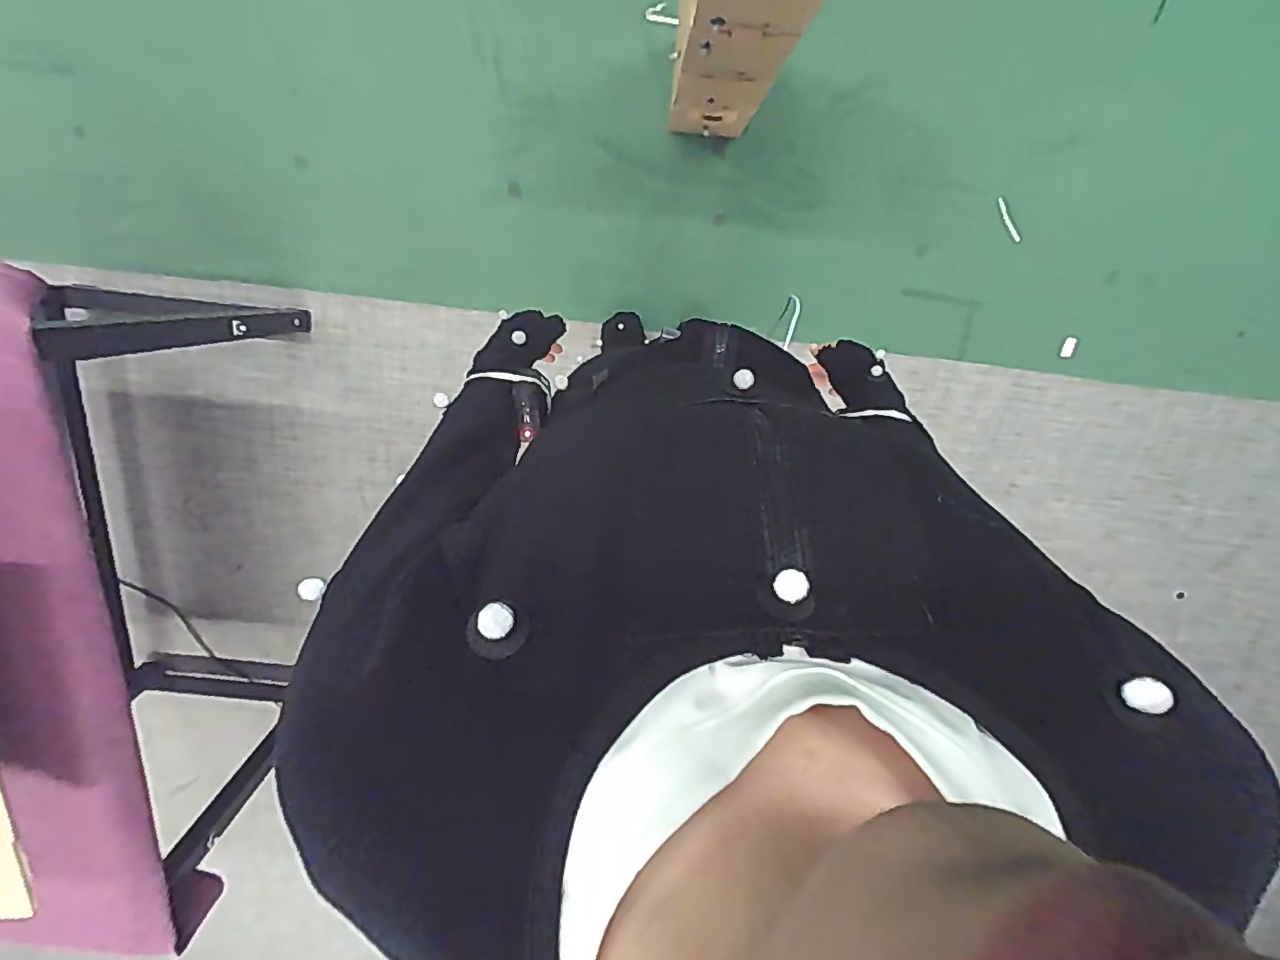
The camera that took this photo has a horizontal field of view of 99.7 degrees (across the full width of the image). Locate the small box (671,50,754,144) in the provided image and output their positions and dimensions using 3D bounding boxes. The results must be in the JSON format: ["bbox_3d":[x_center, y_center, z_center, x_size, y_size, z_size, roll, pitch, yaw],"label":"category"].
[{"bbox_3d":[0.157,-0.844,1.148,0.168,0.176,0.179,5,108,-2],"label":"small box"}]

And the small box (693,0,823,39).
[{"bbox_3d":[0.160,-0.695,0.679,0.168,0.176,0.179,2,107,-2],"label":"small box"}]

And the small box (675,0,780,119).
[{"bbox_3d":[0.156,-0.795,0.993,0.168,0.176,0.179,2,109,-2],"label":"small box"}]
